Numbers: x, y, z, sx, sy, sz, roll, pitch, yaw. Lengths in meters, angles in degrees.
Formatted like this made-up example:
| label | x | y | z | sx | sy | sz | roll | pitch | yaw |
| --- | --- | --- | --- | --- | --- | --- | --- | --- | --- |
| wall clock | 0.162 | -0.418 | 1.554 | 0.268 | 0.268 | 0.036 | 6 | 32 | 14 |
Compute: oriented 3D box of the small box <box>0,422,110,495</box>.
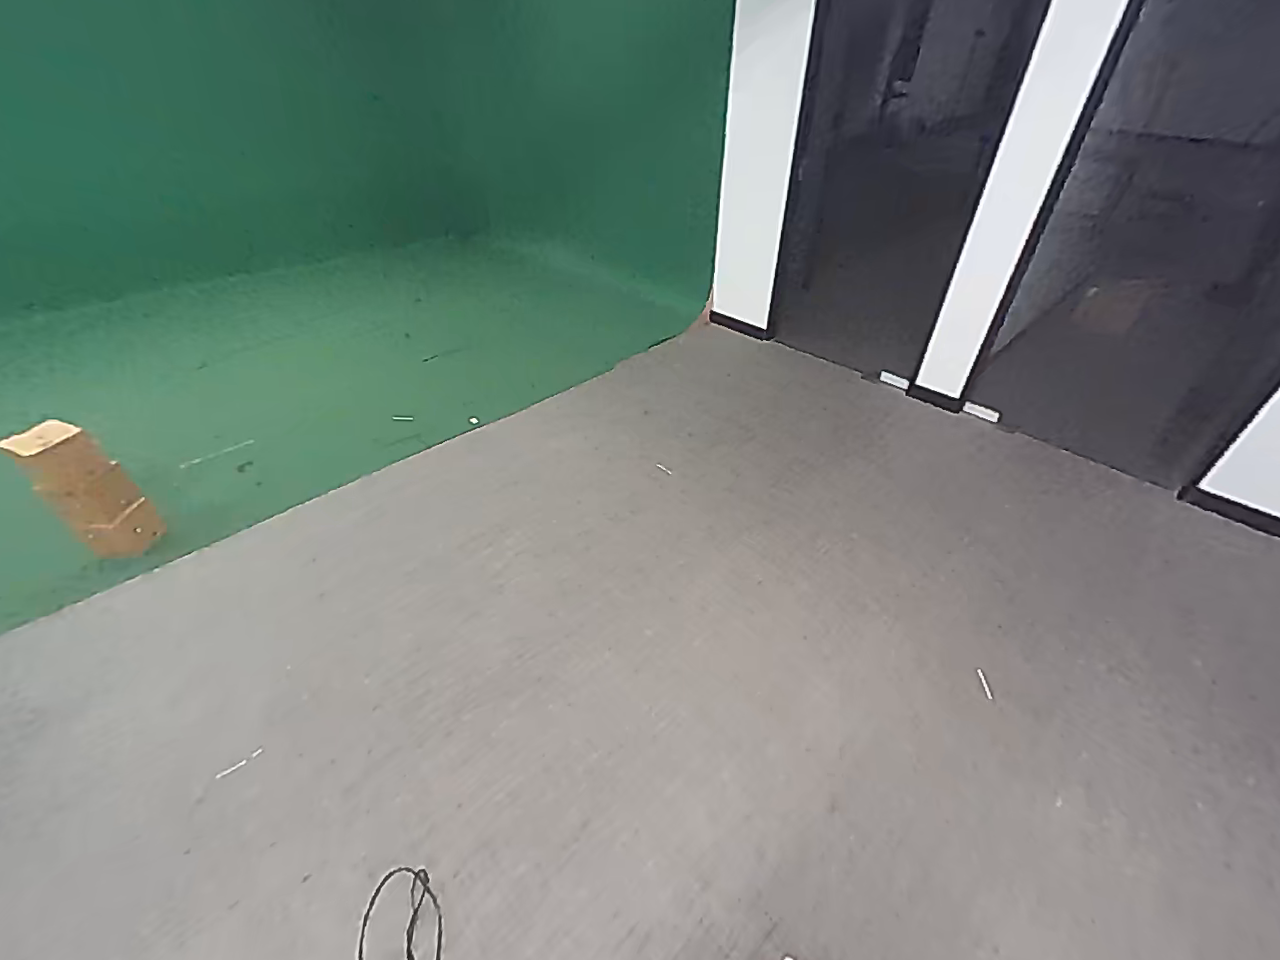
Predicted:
| label | x | y | z | sx | sy | sz | roll | pitch | yaw |
| --- | --- | --- | --- | --- | --- | --- | --- | --- | --- |
| small box | -1.990 | -0.071 | 1.841 | 0.179 | 0.176 | 0.168 | 14 | 42 | 16 |

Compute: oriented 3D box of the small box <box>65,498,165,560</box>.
| label | x | y | z | sx | sy | sz | roll | pitch | yaw |
| --- | --- | --- | --- | --- | --- | --- | --- | --- | --- |
| small box | -1.971 | 0.187 | 2.044 | 0.179 | 0.176 | 0.168 | 1 | 40 | 2 |
